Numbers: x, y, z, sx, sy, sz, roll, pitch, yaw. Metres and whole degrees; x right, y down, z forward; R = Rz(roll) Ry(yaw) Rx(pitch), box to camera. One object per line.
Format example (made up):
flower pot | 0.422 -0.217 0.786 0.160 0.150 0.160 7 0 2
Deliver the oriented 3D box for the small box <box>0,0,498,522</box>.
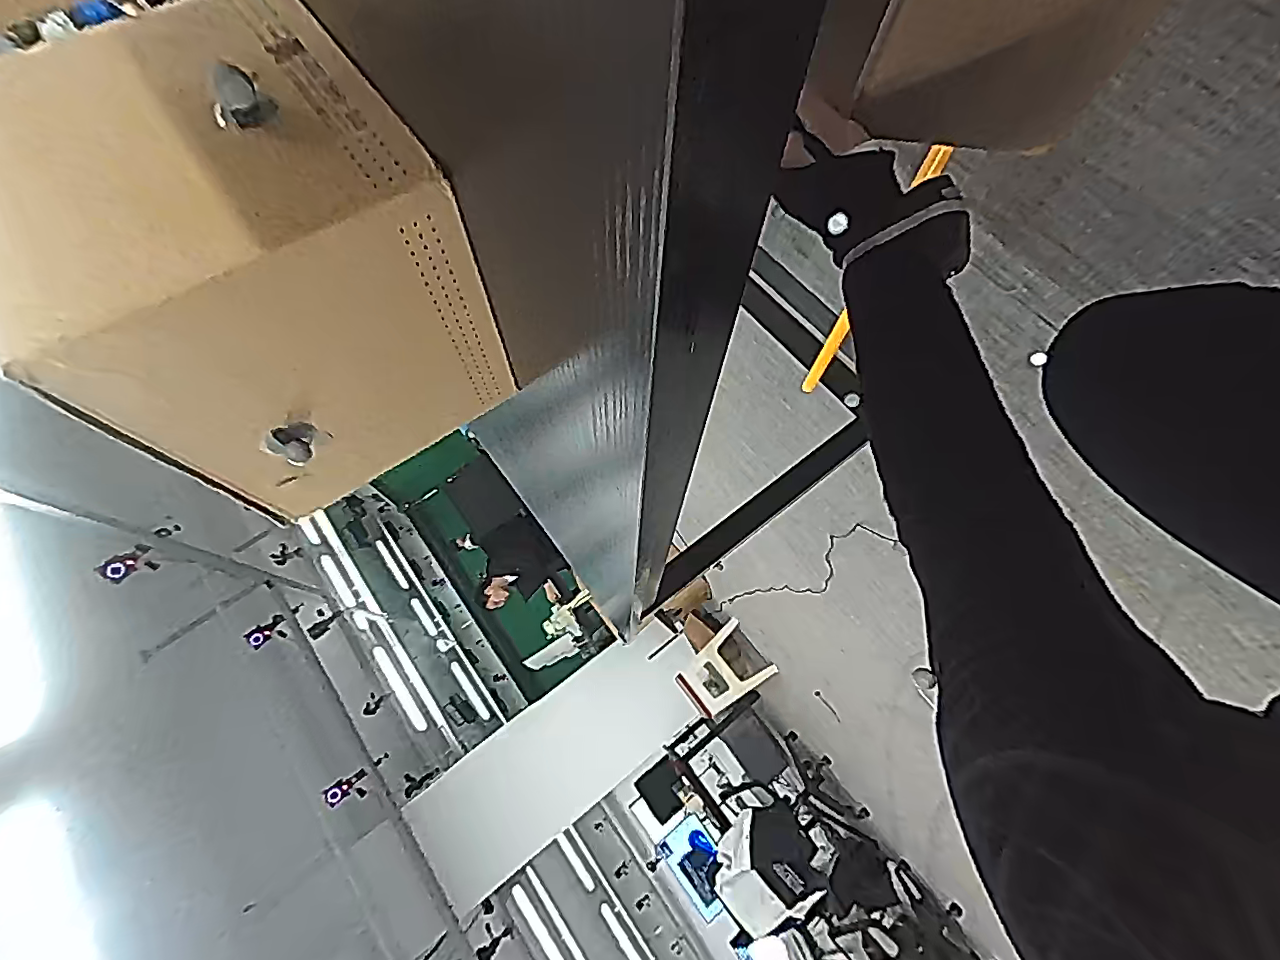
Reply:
small box | -0.200 -0.107 0.302 0.168 0.176 0.179 51 165 15
